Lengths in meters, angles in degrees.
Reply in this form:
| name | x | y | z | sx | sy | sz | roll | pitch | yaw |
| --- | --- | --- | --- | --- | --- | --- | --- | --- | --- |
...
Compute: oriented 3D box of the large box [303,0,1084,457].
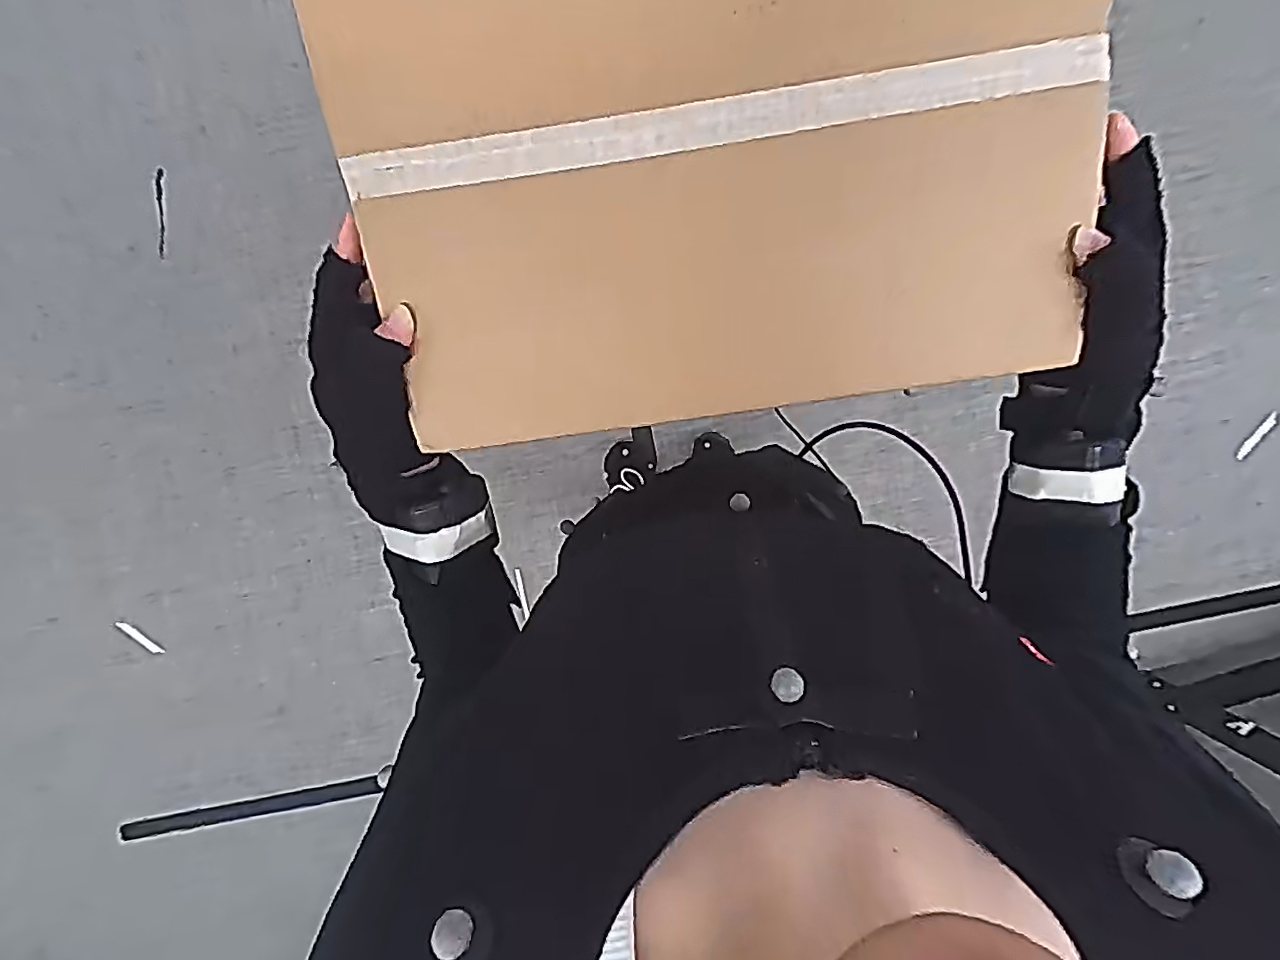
| name | x | y | z | sx | sy | sz | roll | pitch | yaw |
| --- | --- | --- | --- | --- | --- | --- | --- | --- | --- |
| large box | 0.037 | -0.234 | 0.439 | 0.408 | 0.320 | 0.320 | -8 | 107 | 2 |
